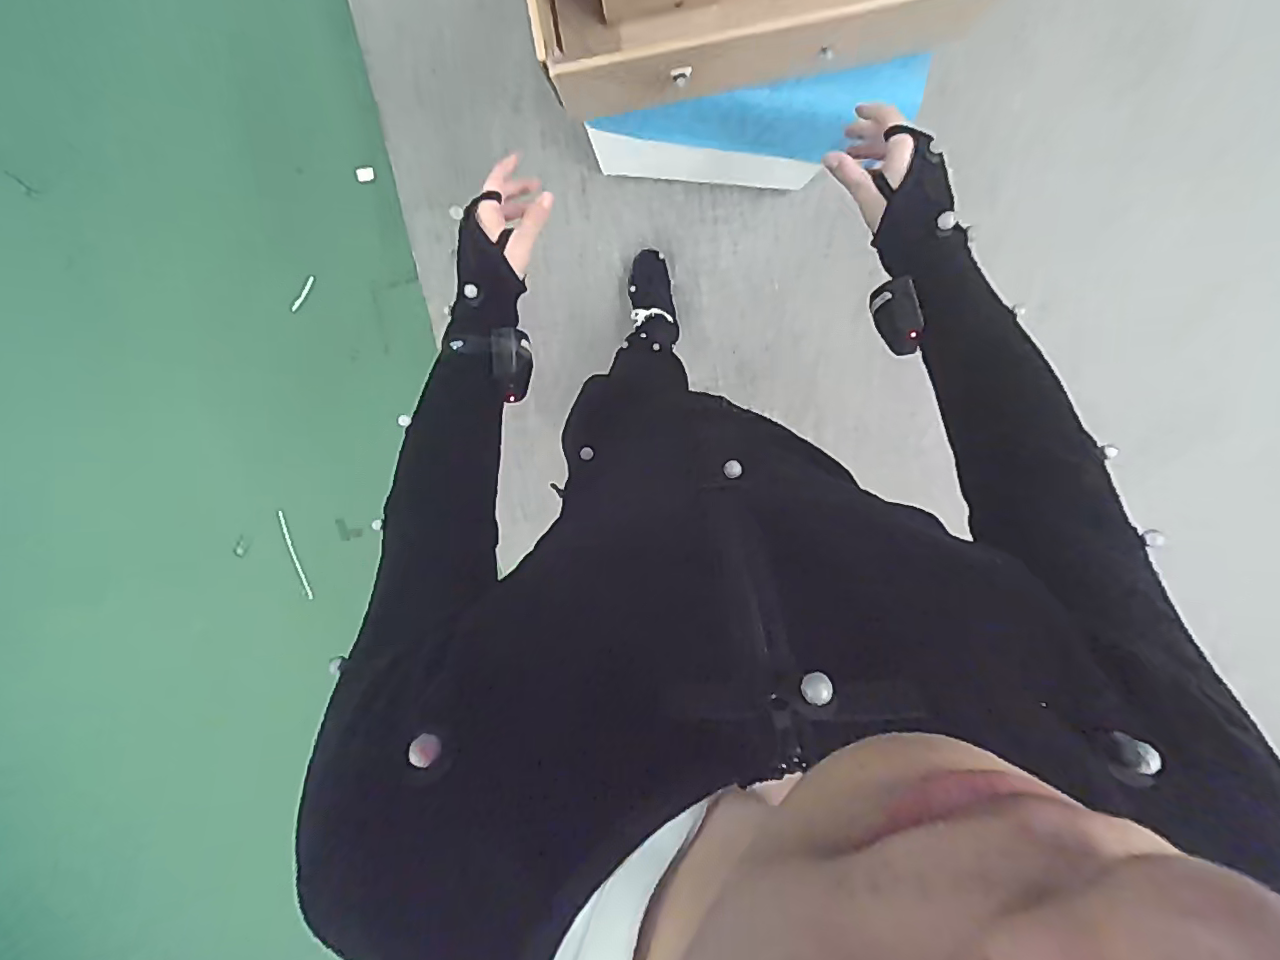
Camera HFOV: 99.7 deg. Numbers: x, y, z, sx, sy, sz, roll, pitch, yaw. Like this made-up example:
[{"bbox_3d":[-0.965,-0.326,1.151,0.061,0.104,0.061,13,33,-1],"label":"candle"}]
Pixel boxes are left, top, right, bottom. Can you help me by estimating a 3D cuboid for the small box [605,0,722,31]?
[{"bbox_3d":[0.021,-0.719,0.675,0.168,0.176,0.179,-8,103,4],"label":"small box"}]
